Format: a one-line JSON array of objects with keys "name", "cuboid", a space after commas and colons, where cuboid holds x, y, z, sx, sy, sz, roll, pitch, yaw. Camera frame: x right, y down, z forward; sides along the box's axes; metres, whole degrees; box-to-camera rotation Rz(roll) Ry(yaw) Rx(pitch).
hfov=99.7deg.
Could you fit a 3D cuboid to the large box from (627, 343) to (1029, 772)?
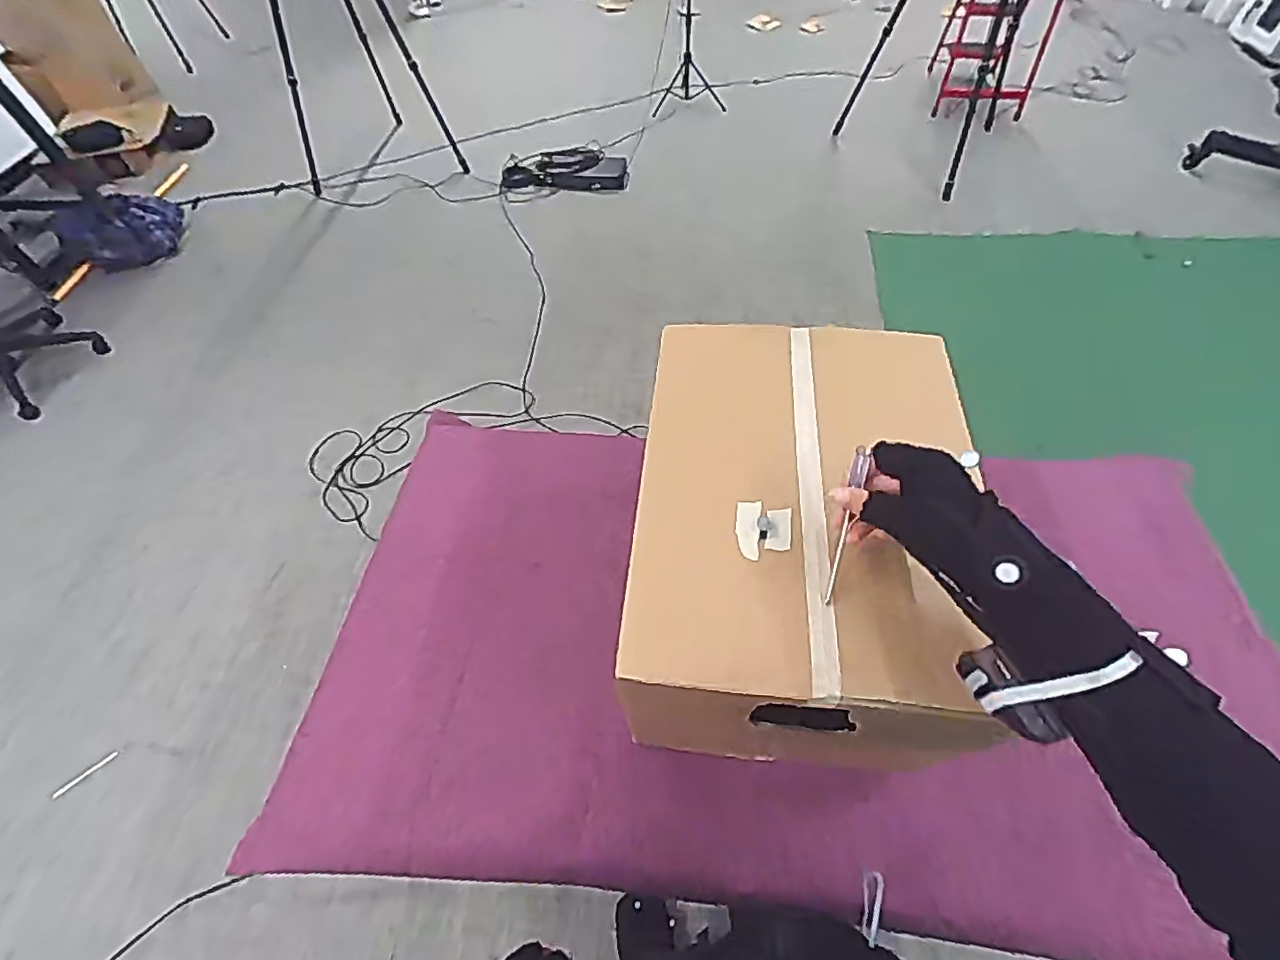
[{"name": "large box", "cuboid": [0.165, 0.093, 0.648, 0.320, 0.320, 0.408, 4, 56, 6]}]
